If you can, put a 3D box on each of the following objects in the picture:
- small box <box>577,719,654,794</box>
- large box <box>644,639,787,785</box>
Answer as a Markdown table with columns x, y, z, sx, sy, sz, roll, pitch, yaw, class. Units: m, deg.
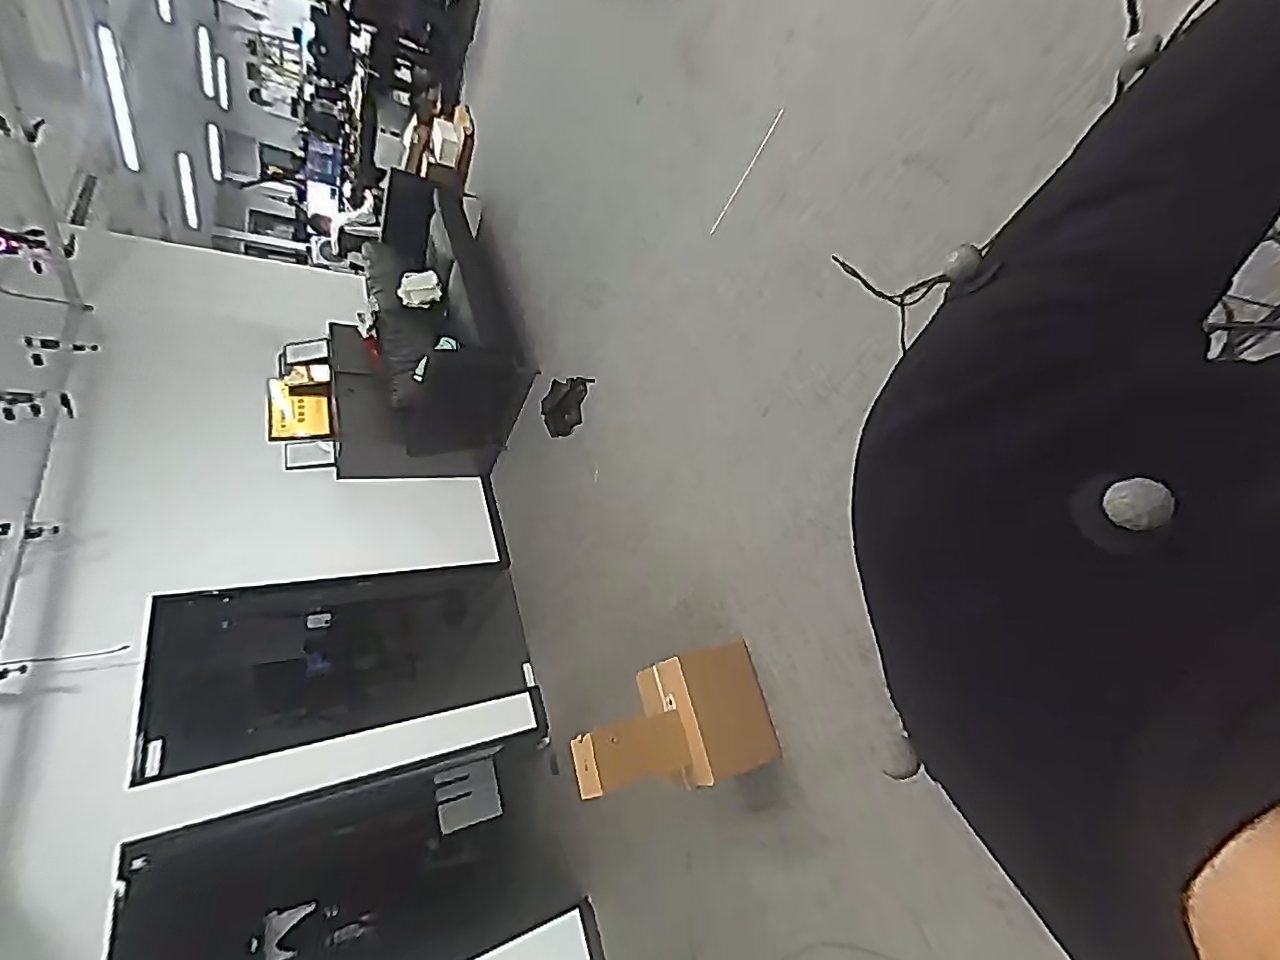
| x | y | z | sx | sy | sz | roll | pitch | yaw | class |
| --- | --- | --- | --- | --- | --- | --- | --- | --- | --- |
| -0.079 | 0.876 | 1.722 | 0.168 | 0.176 | 0.179 | -50 | 50 | 47 | small box |
| 0.260 | 0.830 | 1.948 | 0.320 | 0.320 | 0.408 | -45 | 53 | 47 | large box |
